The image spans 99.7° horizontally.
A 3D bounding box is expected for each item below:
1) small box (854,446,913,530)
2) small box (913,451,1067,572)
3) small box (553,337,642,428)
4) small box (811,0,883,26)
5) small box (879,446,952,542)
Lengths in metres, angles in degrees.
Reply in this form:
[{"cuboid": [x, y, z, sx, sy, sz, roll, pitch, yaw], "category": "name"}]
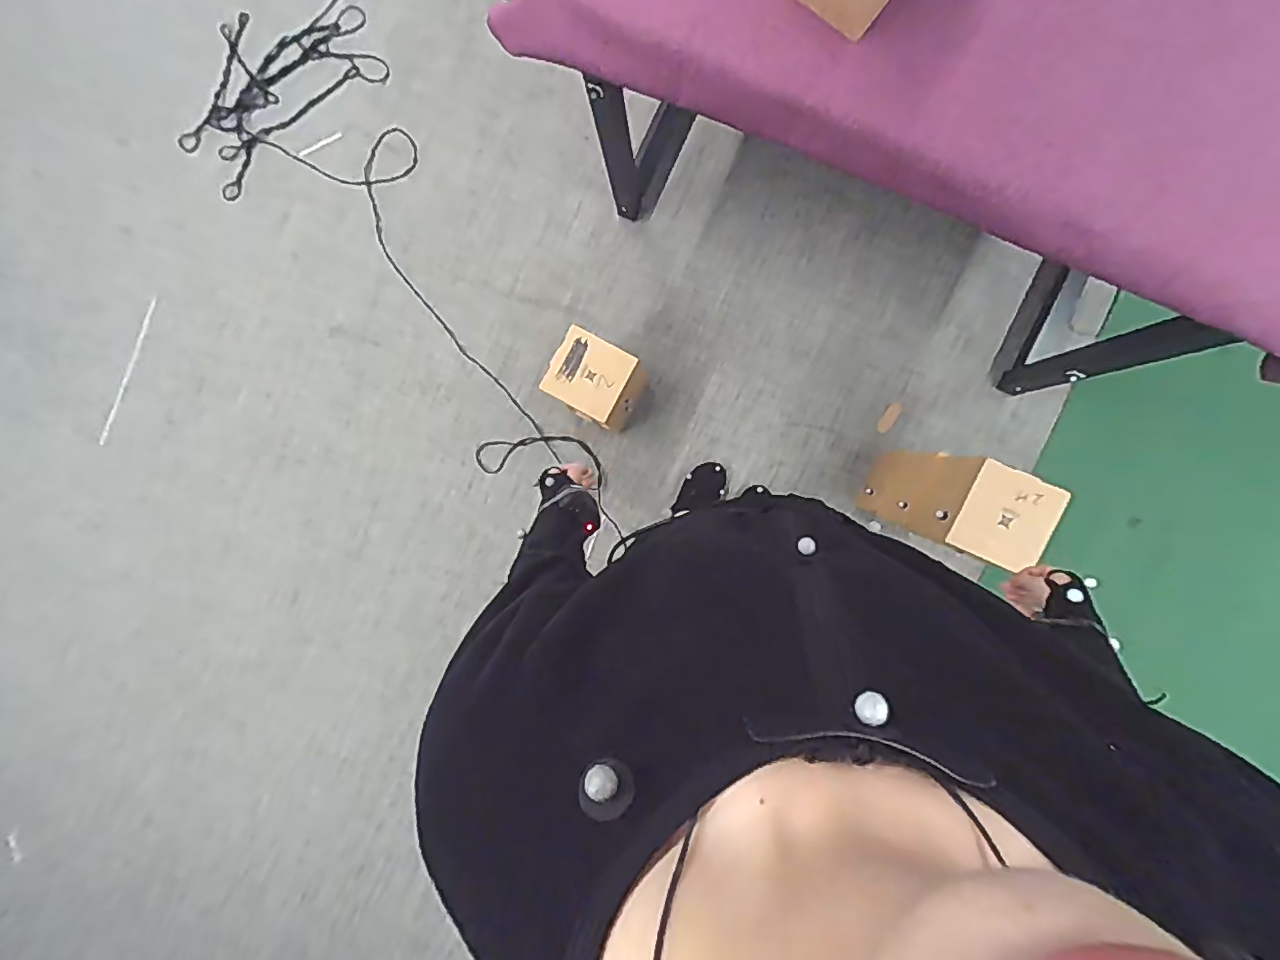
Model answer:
[{"cuboid": [0.683, 0.027, 1.391, 0.179, 0.176, 0.168, 27, 93, 3], "category": "small box"}, {"cuboid": [0.671, 0.055, 1.066, 0.168, 0.176, 0.179, 25, 94, 3], "category": "small box"}, {"cuboid": [-0.104, -0.252, 1.444, 0.168, 0.176, 0.179, 29, 94, 3], "category": "small box"}, {"cuboid": [0.279, -0.737, 0.676, 0.179, 0.176, 0.168, 38, 94, 2], "category": "small box"}, {"cuboid": [0.675, 0.035, 1.230, 0.168, 0.176, 0.179, 24, 94, 3], "category": "small box"}]
